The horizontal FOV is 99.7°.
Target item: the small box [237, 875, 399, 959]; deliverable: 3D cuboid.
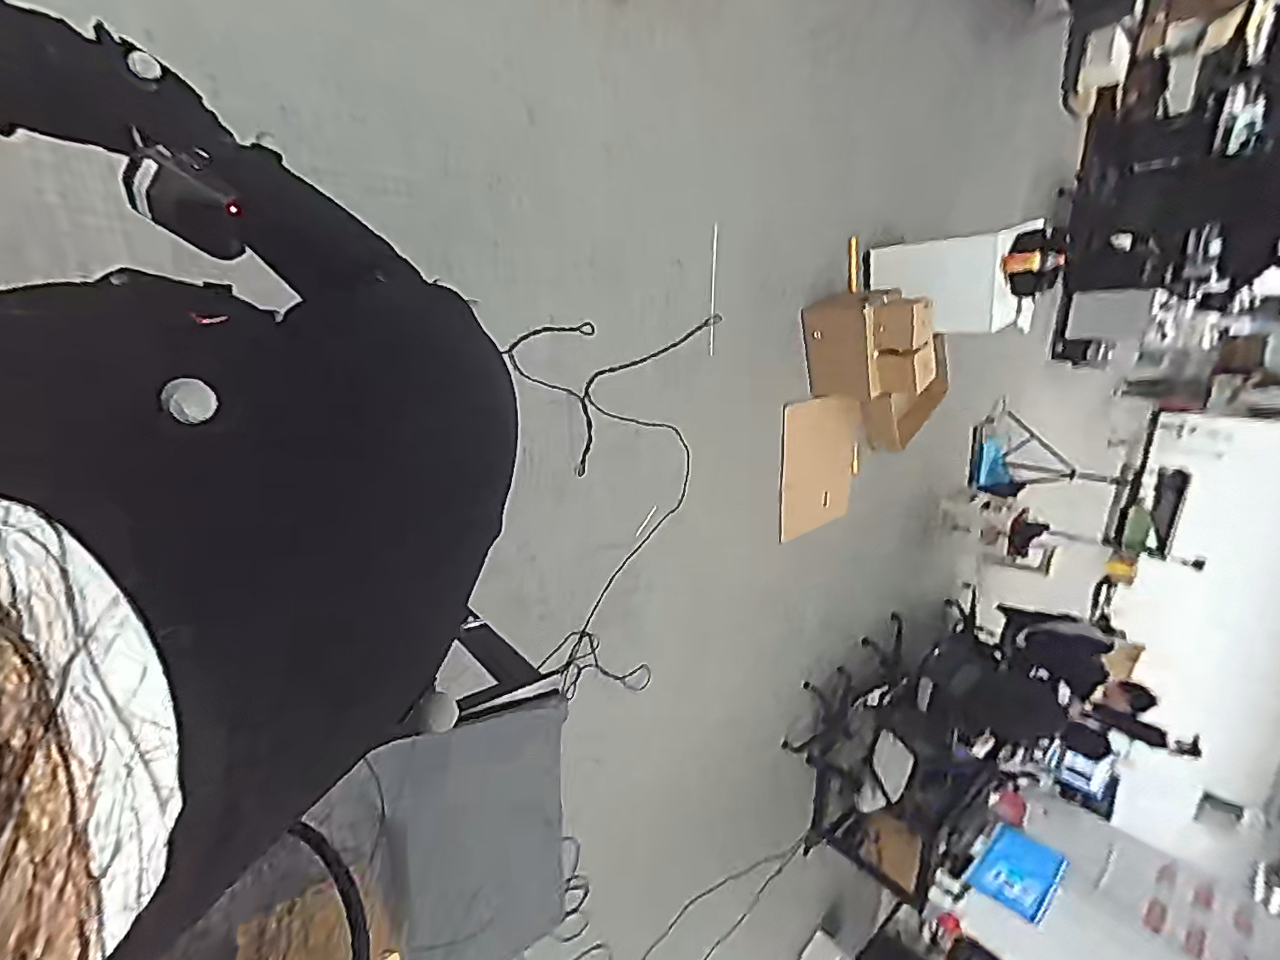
[{"bbox_3d":[-0.439,0.698,0.745,0.168,0.176,0.179,-9,108,-39],"label":"small box"}]
